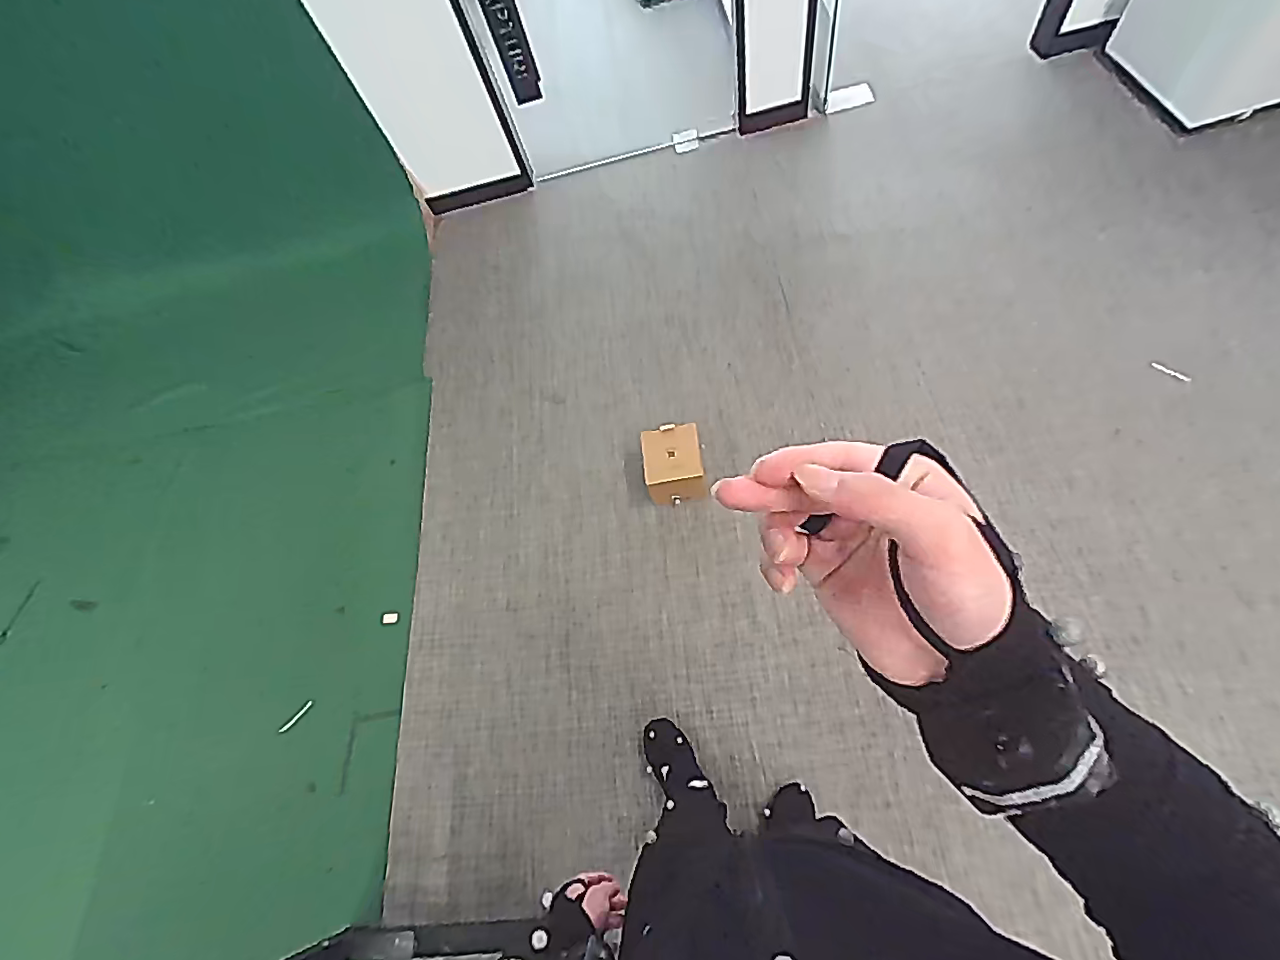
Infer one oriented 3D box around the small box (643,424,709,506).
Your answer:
[{"bbox_3d":[0.108,-0.040,1.601,0.168,0.176,0.179,-9,64,11],"label":"small box"}]
